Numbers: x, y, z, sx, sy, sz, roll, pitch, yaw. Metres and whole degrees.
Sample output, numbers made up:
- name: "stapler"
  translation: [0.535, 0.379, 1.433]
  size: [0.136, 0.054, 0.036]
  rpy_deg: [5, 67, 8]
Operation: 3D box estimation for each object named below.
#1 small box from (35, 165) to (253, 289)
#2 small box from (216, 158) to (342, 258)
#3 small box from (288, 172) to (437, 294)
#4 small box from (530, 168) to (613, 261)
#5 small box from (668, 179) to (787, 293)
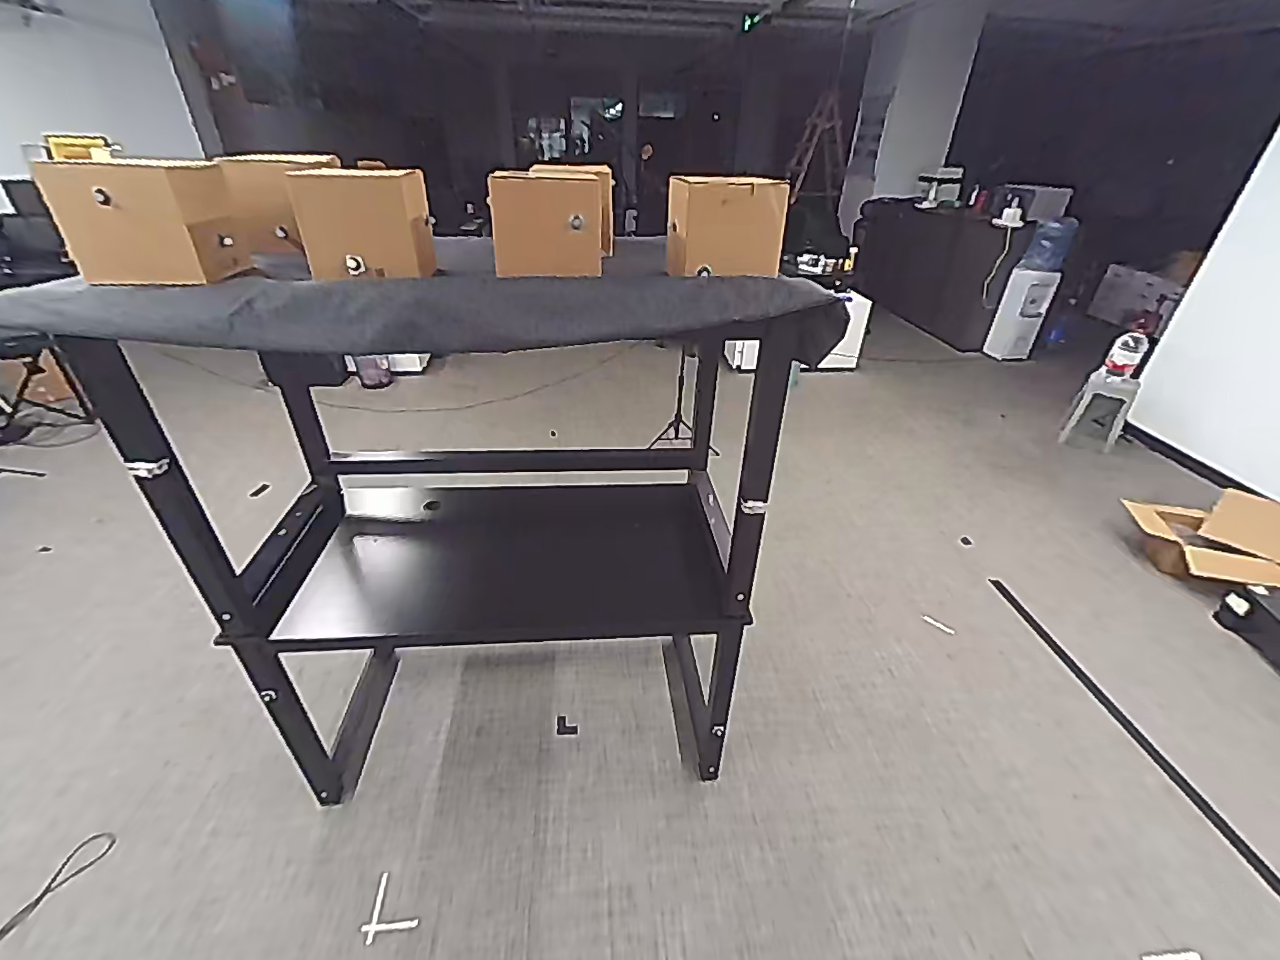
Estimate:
- name: "small box"
  translation: [-0.779, -0.411, 0.877]
  size: [0.179, 0.176, 0.168]
  rpy_deg: [-3, 32, -9]
- name: "small box"
  translation: [-0.720, -0.566, 1.128]
  size: [0.179, 0.176, 0.168]
  rpy_deg: [-2, 33, -7]
- name: "small box"
  translation: [-0.449, -0.418, 0.910]
  size: [0.168, 0.176, 0.179]
  rpy_deg: [-4, 32, -8]
- name: "small box"
  translation: [-0.146, -0.585, 1.190]
  size: [0.168, 0.176, 0.179]
  rpy_deg: [-2, 33, -6]
- name: "small box"
  translation: [0.145, -0.433, 0.960]
  size: [0.168, 0.176, 0.179]
  rpy_deg: [-3, 31, -7]
